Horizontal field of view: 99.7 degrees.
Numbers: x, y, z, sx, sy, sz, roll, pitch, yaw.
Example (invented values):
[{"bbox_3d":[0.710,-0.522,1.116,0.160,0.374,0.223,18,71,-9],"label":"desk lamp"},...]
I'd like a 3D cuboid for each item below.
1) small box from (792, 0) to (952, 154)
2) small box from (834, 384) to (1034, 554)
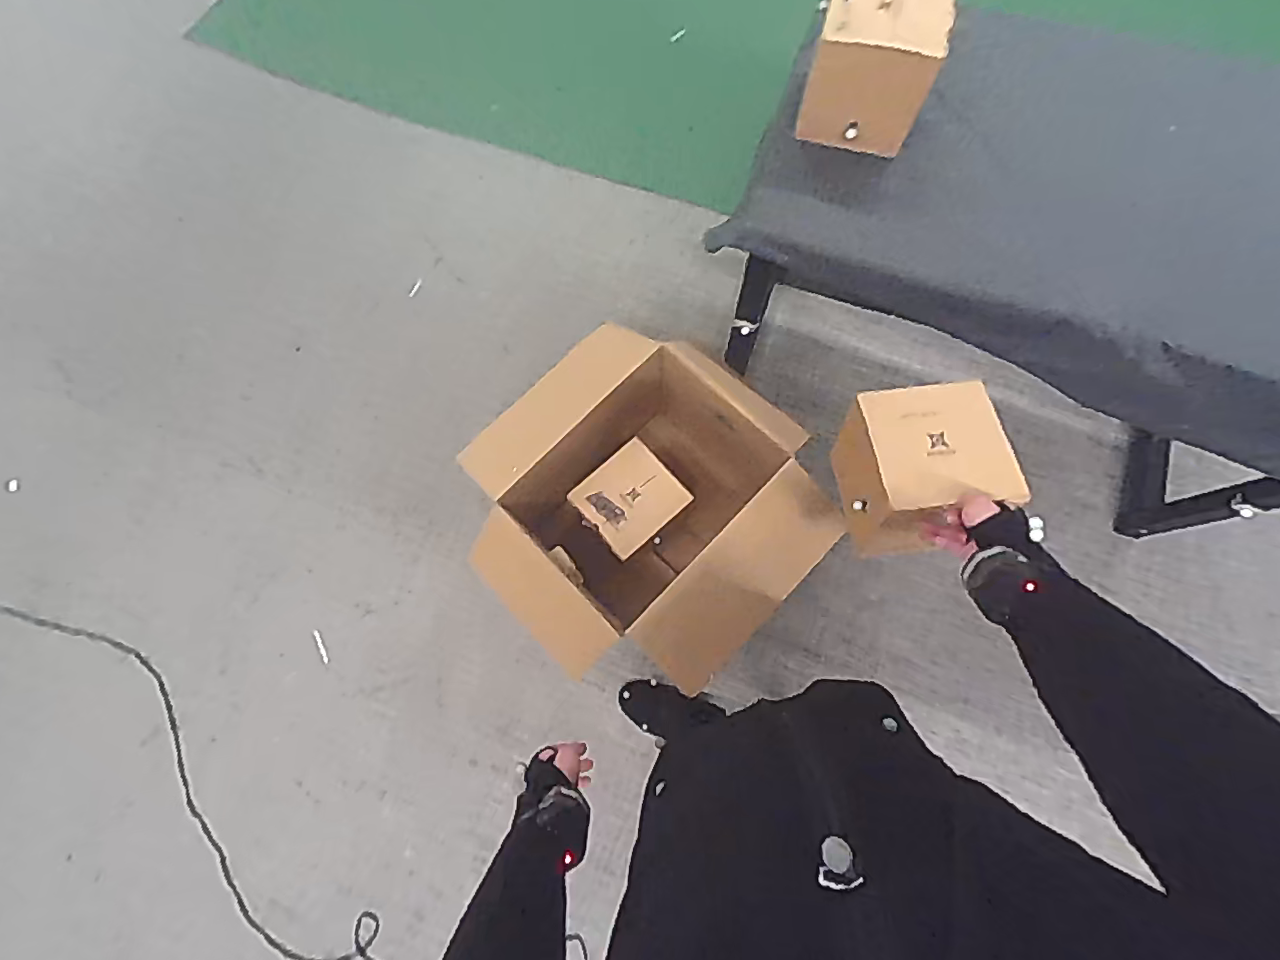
[{"bbox_3d":[0.363,-0.661,0.865,0.179,0.176,0.168,14,74,5],"label":"small box"},{"bbox_3d":[0.384,-0.006,0.745,0.168,0.176,0.179,-6,60,2],"label":"small box"}]
